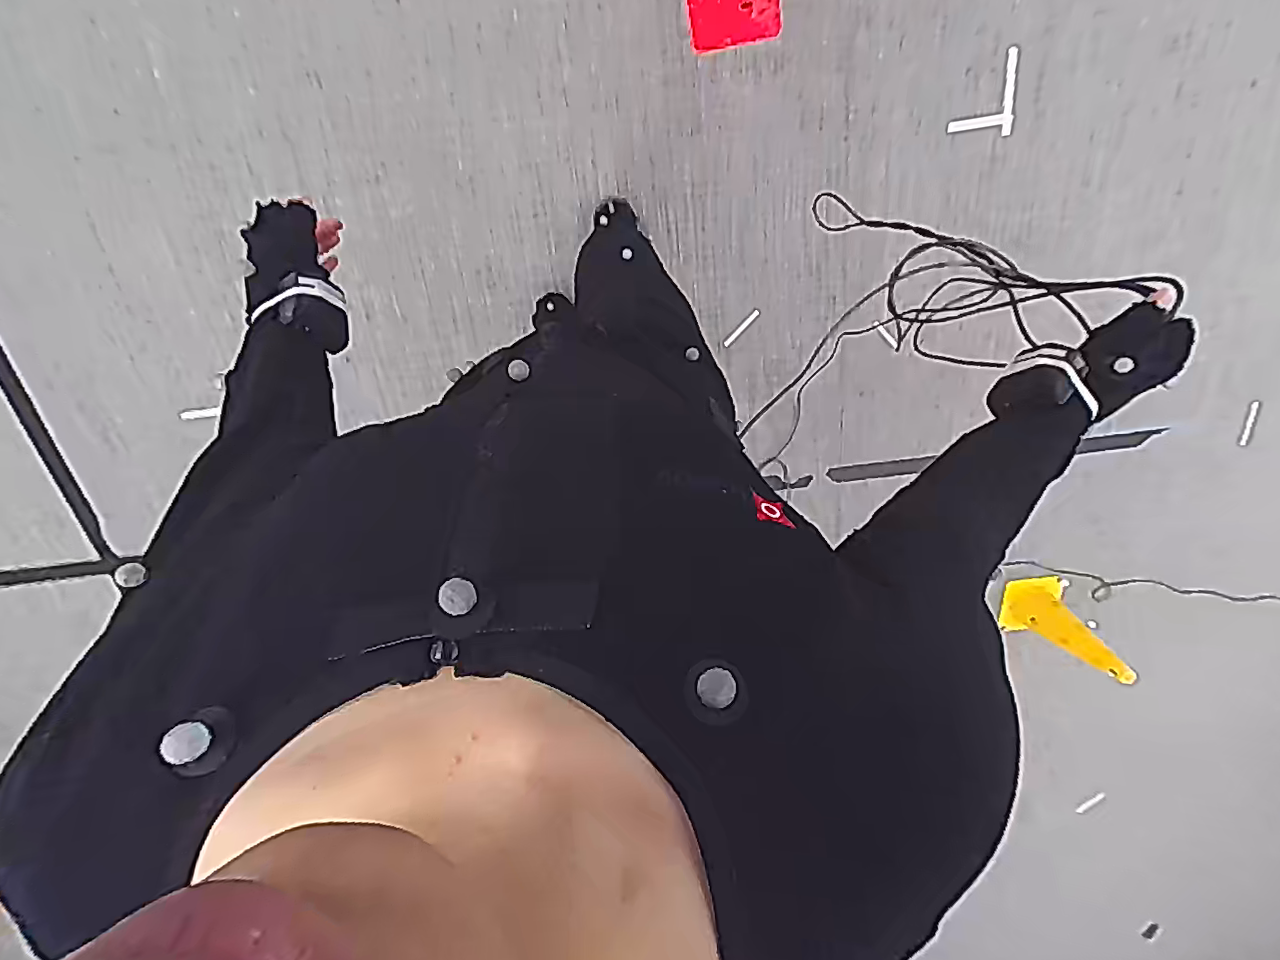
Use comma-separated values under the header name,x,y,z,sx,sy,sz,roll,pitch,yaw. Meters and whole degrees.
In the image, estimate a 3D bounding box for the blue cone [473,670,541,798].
name,x,y,z,sx,sy,sz,roll,pitch,yaw
blue cone,-0.415,0.768,1.601,0.193,0.380,0.192,-12,112,0

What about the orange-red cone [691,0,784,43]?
name,x,y,z,sx,sy,sz,roll,pitch,yaw
orange-red cone,0.209,-0.974,0.959,0.199,0.360,0.198,-11,112,1
